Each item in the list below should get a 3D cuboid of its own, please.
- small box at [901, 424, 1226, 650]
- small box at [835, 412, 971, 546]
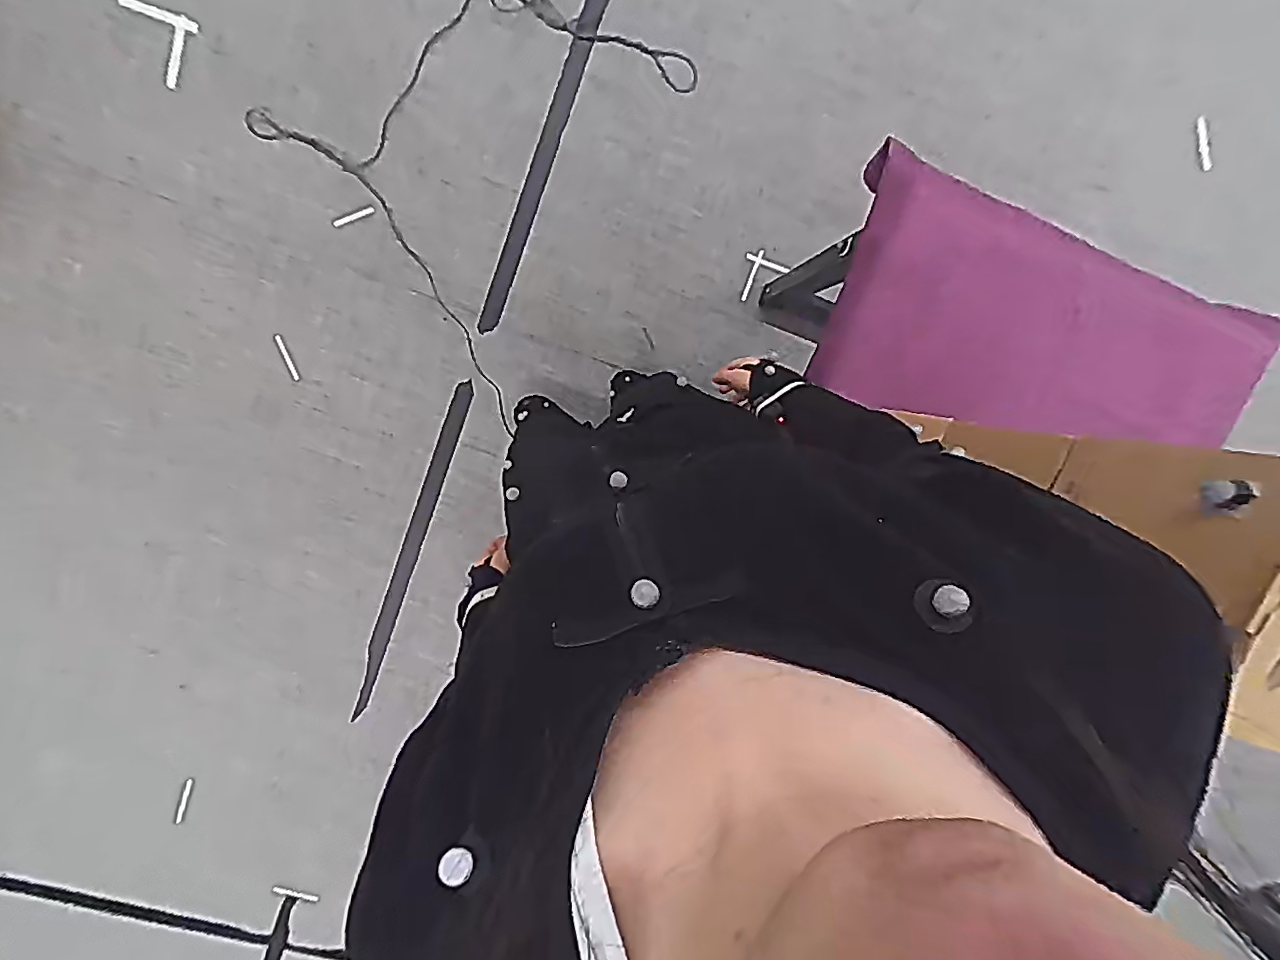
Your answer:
[{"bbox_3d":[0.414,0.045,0.566,0.179,0.176,0.168,19,99,-8],"label":"small box"},{"bbox_3d":[0.395,0.014,0.725,0.179,0.176,0.168,21,99,-9],"label":"small box"}]
